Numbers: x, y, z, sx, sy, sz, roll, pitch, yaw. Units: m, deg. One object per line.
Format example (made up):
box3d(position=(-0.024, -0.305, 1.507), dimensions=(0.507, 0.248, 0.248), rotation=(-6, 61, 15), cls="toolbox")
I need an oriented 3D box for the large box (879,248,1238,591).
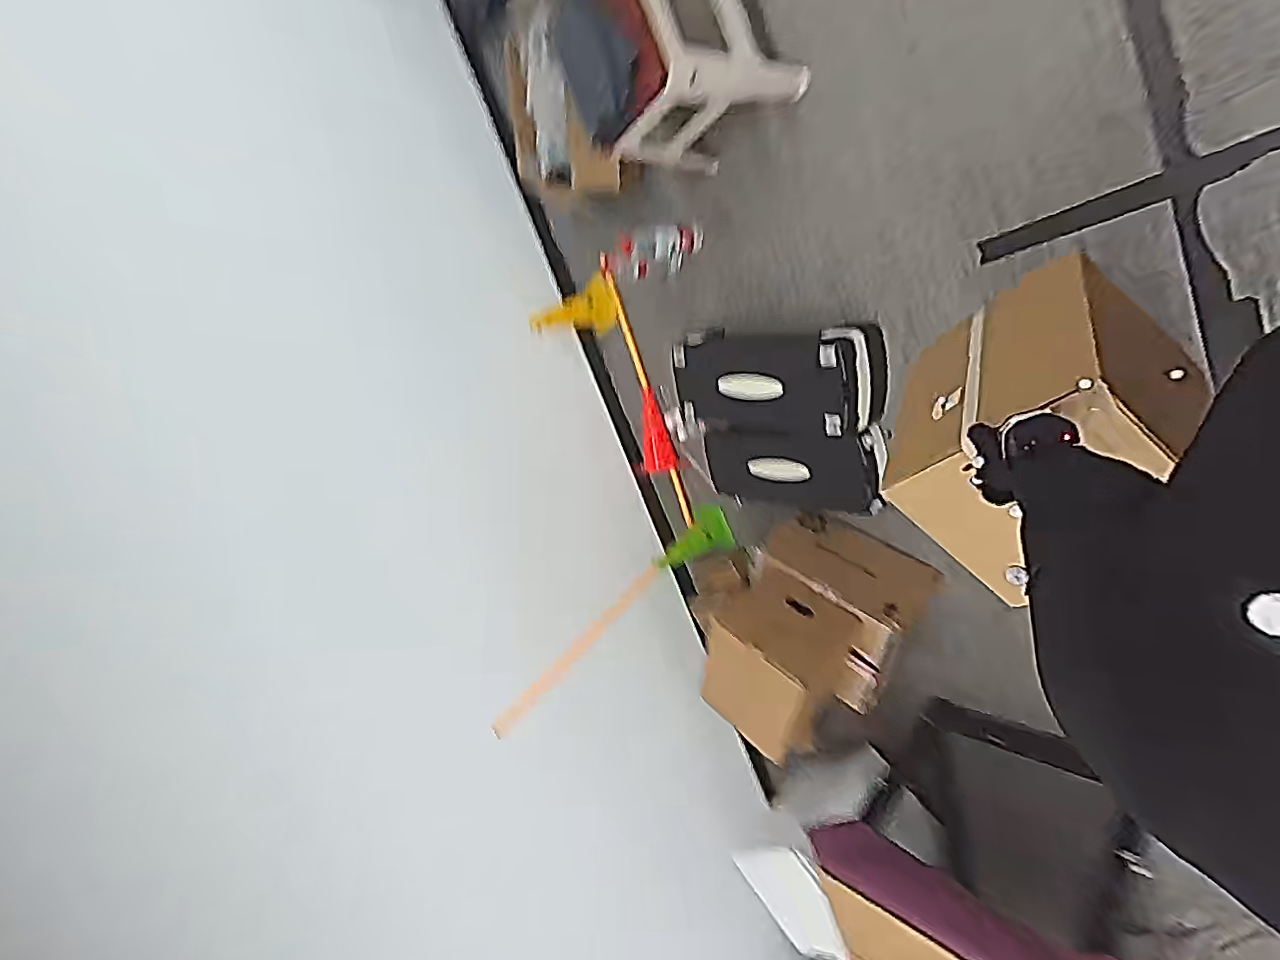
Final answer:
box3d(position=(0.647, -0.094, 0.888), dimensions=(0.320, 0.408, 0.320), rotation=(39, 141, -8), cls="large box")
